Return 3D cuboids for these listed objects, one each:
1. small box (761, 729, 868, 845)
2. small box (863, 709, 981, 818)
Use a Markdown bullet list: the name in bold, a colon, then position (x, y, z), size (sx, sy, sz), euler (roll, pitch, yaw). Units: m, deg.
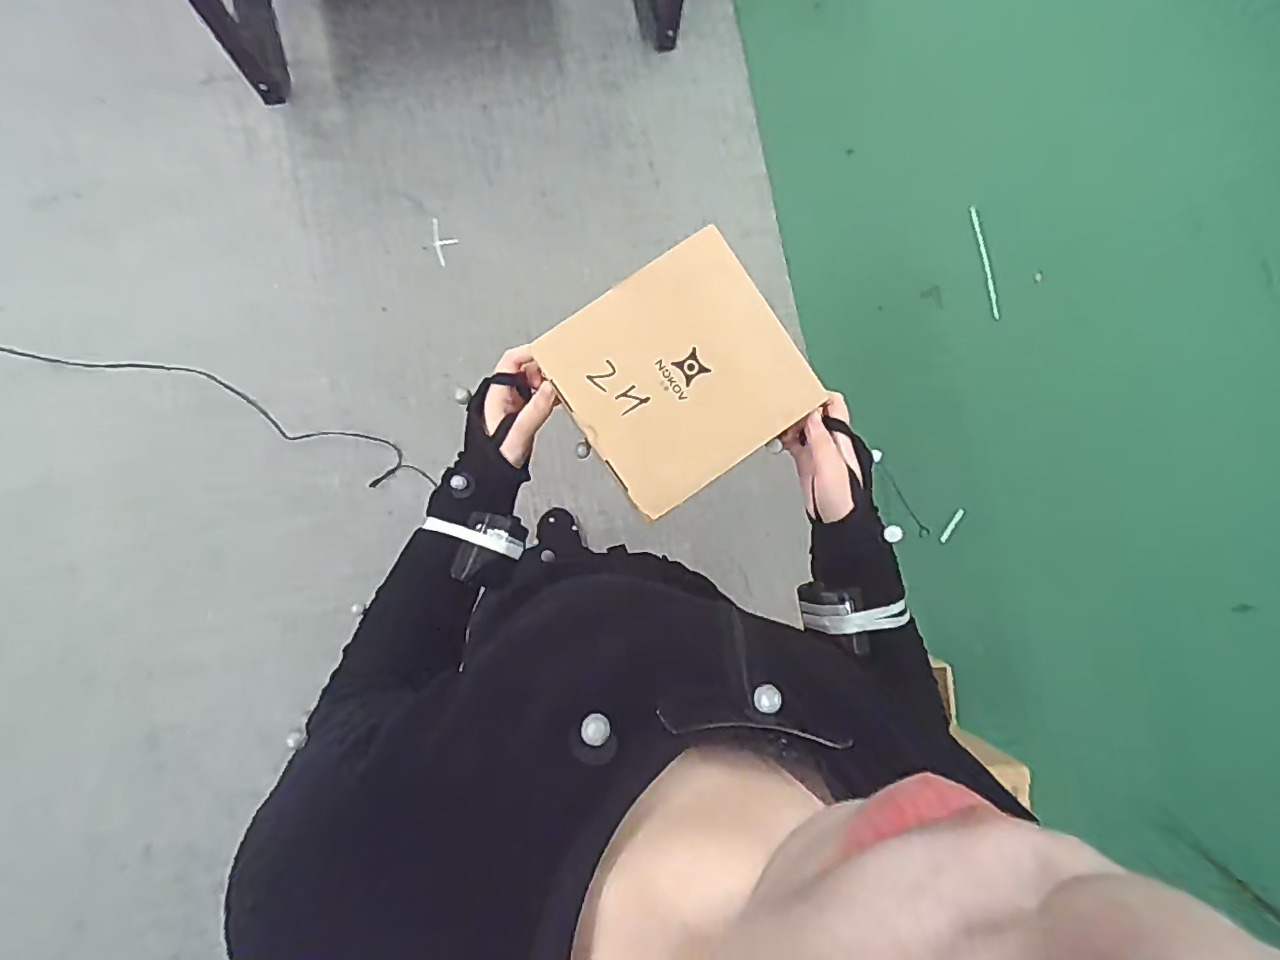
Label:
- **small box**: position (0.380, 0.679, 1.215), size (0.179, 0.176, 0.168), euler (-3, 85, -8)
- **small box**: position (0.644, 0.645, 1.248), size (0.179, 0.176, 0.168), euler (8, 85, -3)
